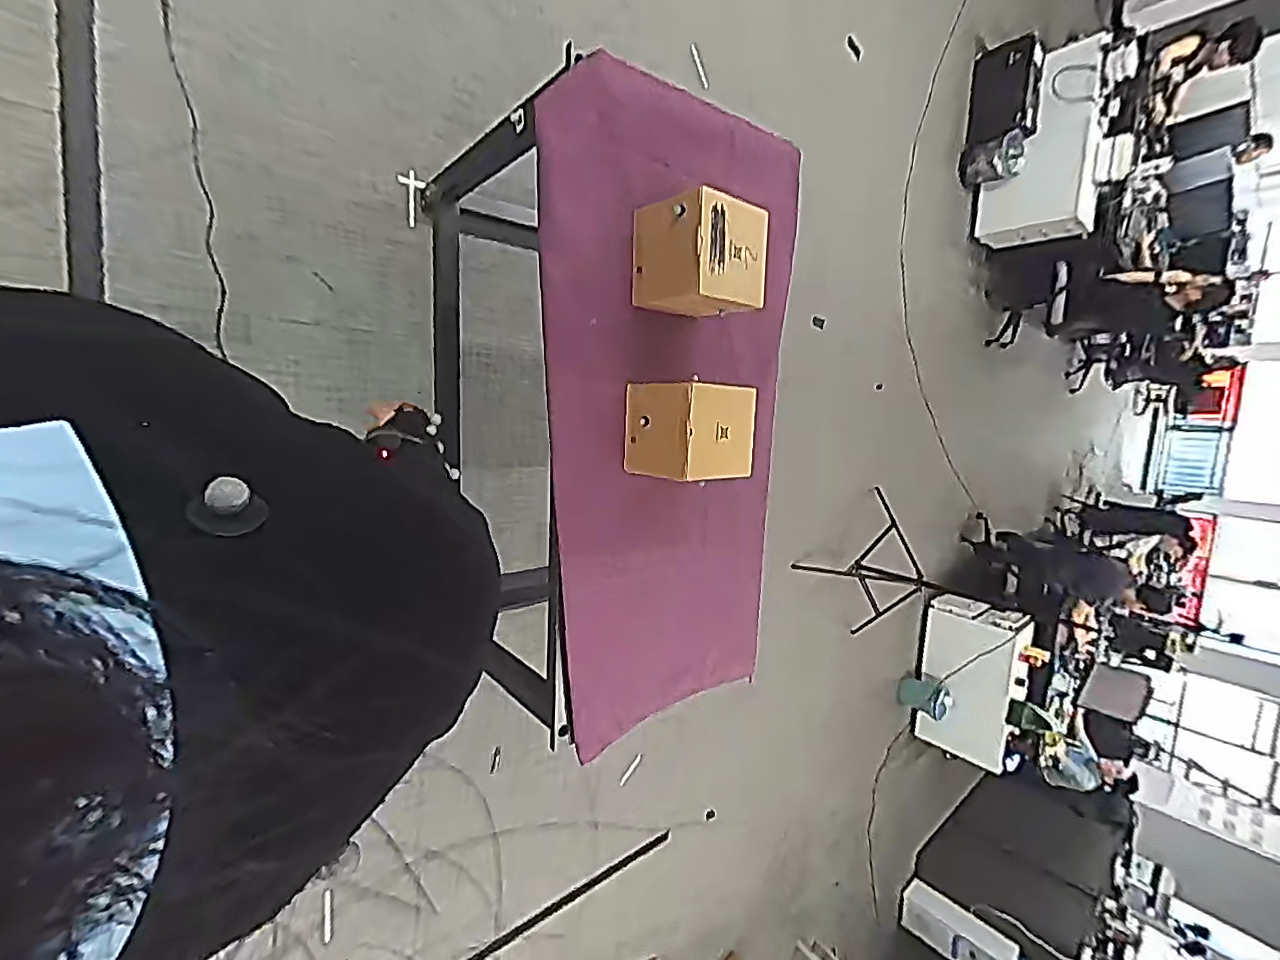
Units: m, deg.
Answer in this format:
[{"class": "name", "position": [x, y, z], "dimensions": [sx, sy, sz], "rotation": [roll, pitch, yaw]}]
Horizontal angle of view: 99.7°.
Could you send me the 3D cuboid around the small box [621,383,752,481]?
[{"class": "small box", "position": [0.086, -0.094, 1.013], "dimensions": [0.179, 0.176, 0.168], "rotation": [-4, 100, -41]}]
